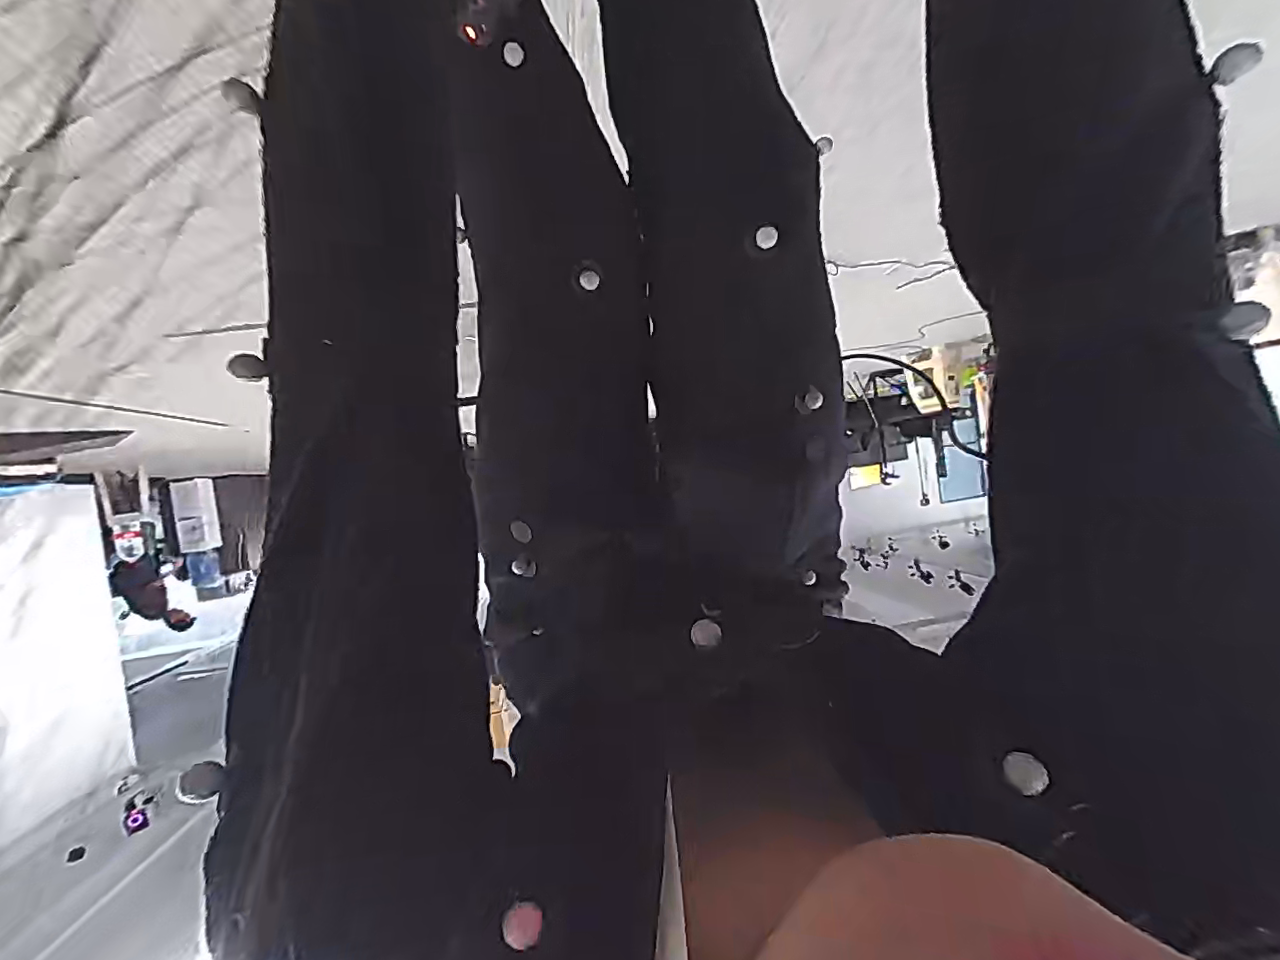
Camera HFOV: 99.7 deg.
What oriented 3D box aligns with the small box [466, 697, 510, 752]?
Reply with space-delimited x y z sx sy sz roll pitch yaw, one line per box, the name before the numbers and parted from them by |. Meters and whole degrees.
small box | -0.724 1.156 2.574 0.179 0.176 0.168 -10 -176 -8
